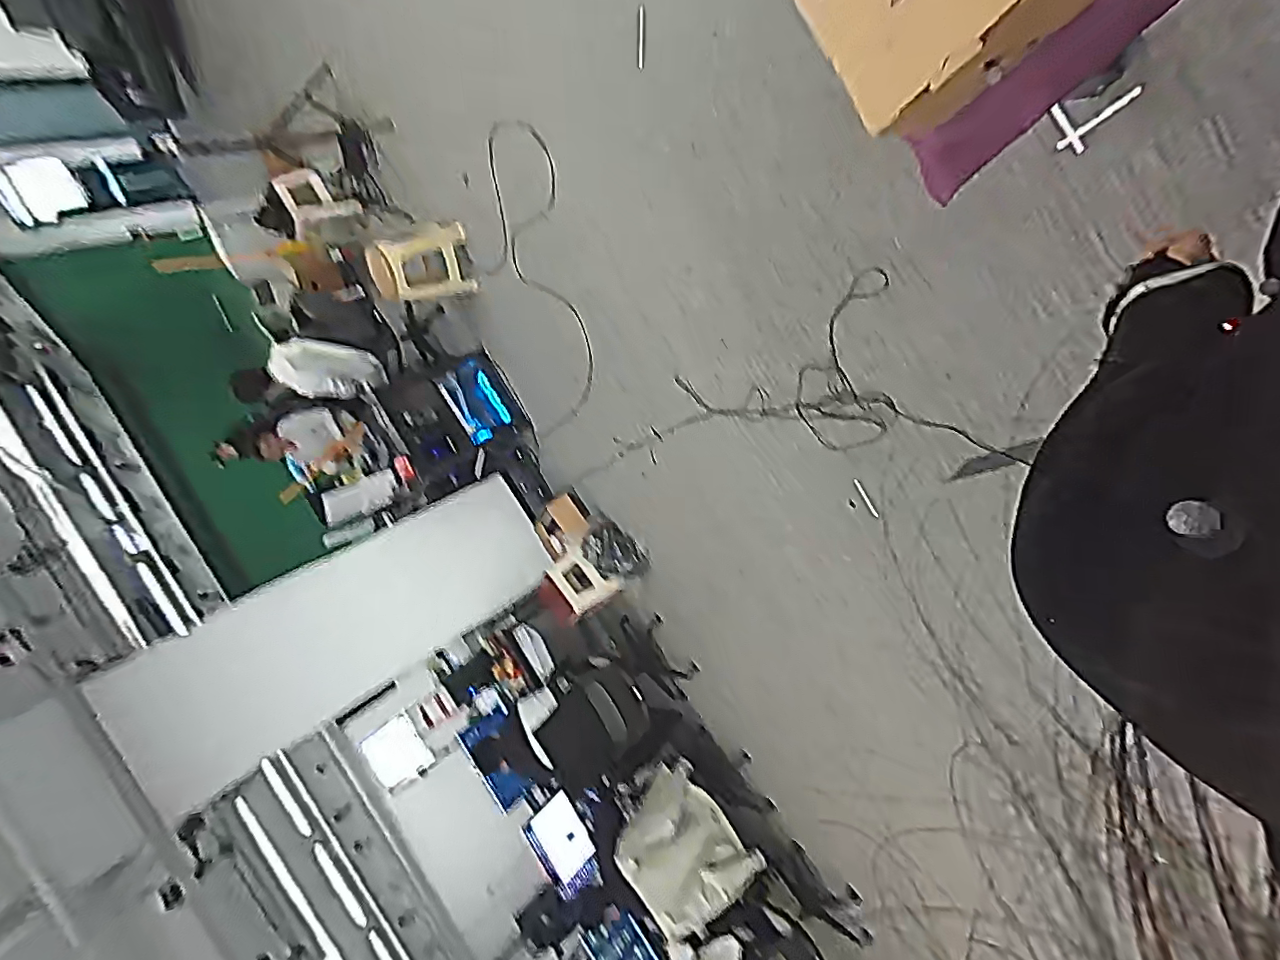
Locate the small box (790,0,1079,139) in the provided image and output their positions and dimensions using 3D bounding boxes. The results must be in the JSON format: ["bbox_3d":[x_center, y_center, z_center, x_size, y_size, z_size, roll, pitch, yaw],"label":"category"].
[{"bbox_3d":[0.280,-0.466,0.508,0.179,0.176,0.168,59,147,-2],"label":"small box"}]
